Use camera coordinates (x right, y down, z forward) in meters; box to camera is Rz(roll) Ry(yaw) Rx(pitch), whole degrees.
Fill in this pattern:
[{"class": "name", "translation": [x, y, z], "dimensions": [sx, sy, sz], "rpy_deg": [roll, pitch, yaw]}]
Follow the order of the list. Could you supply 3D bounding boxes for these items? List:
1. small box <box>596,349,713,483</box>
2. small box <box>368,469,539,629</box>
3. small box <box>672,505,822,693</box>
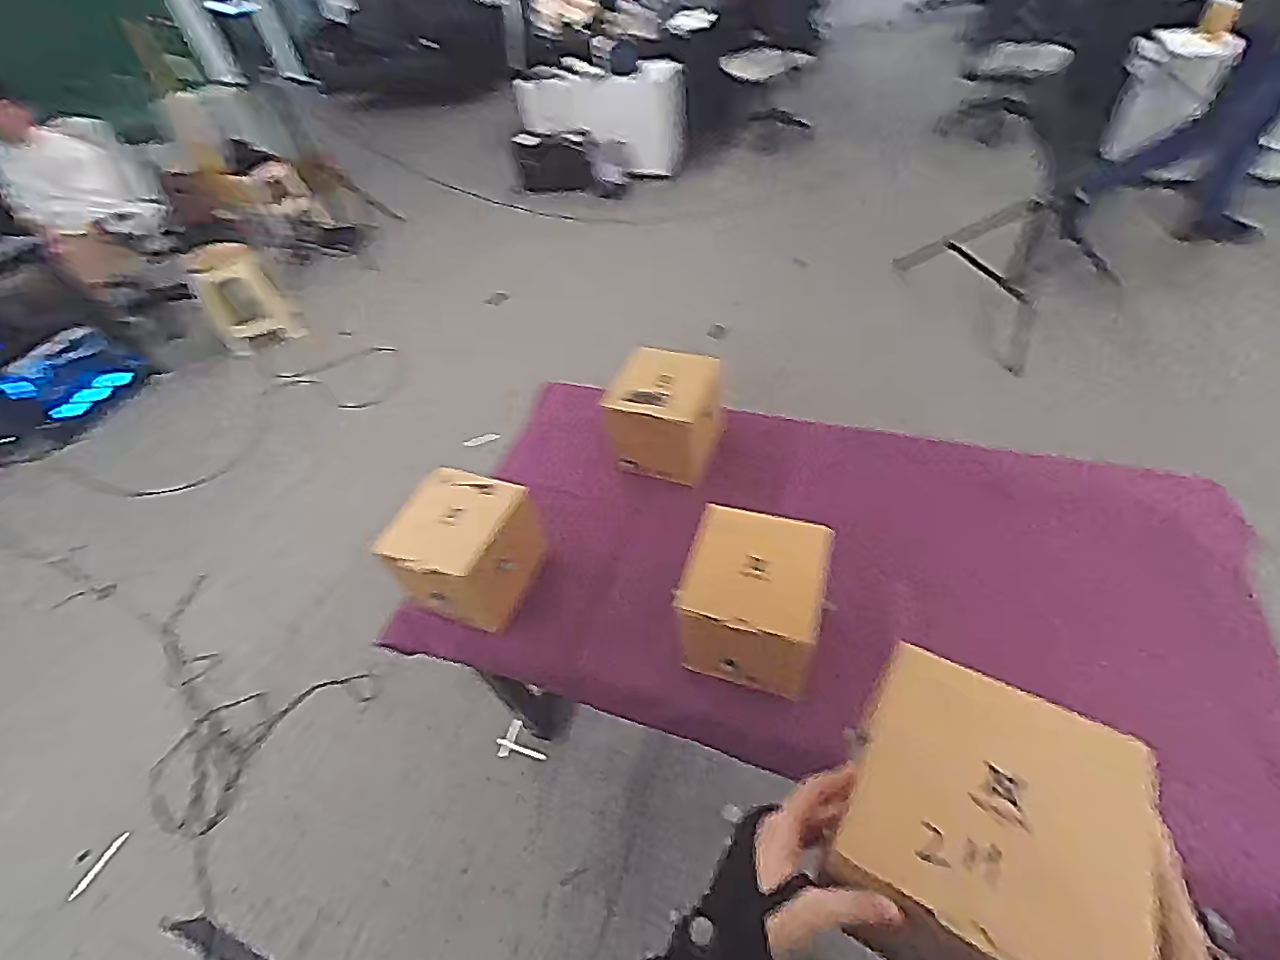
[{"class": "small box", "translation": [0.038, -0.119, 1.019], "dimensions": [0.168, 0.176, 0.179], "rpy_deg": [13, 53, 19]}, {"class": "small box", "translation": [-0.282, 0.113, 0.867], "dimensions": [0.168, 0.176, 0.179], "rpy_deg": [13, 52, 18]}, {"class": "small box", "translation": [0.149, 0.166, 0.757], "dimensions": [0.168, 0.176, 0.179], "rpy_deg": [10, 51, 17]}]
